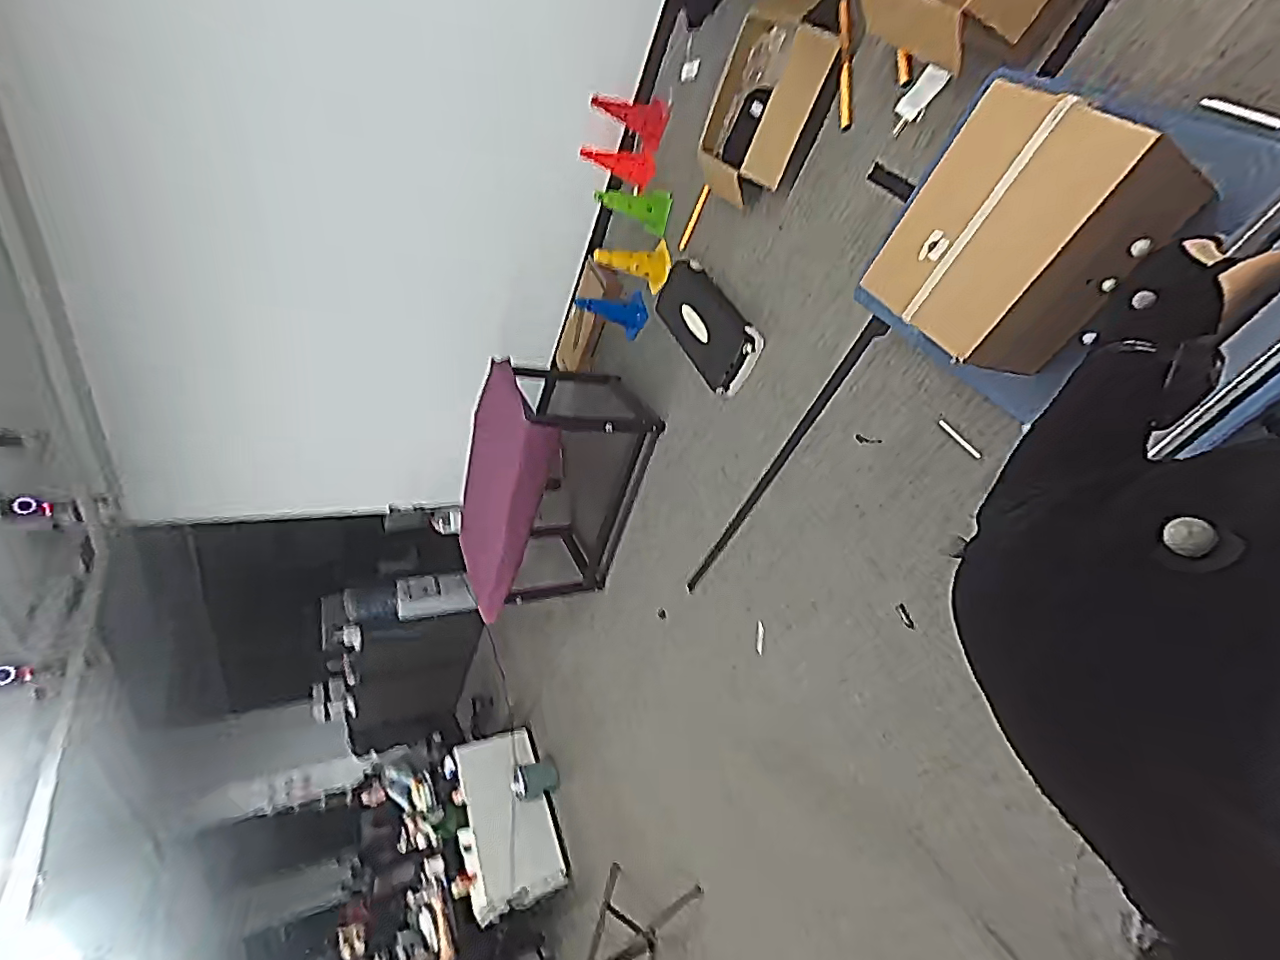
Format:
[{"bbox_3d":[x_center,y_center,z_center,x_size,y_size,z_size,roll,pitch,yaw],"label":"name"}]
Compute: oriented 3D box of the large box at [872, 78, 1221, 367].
[{"bbox_3d":[0.769,-0.484,1.072,0.320,0.320,0.408,62,140,37],"label":"large box"}]
